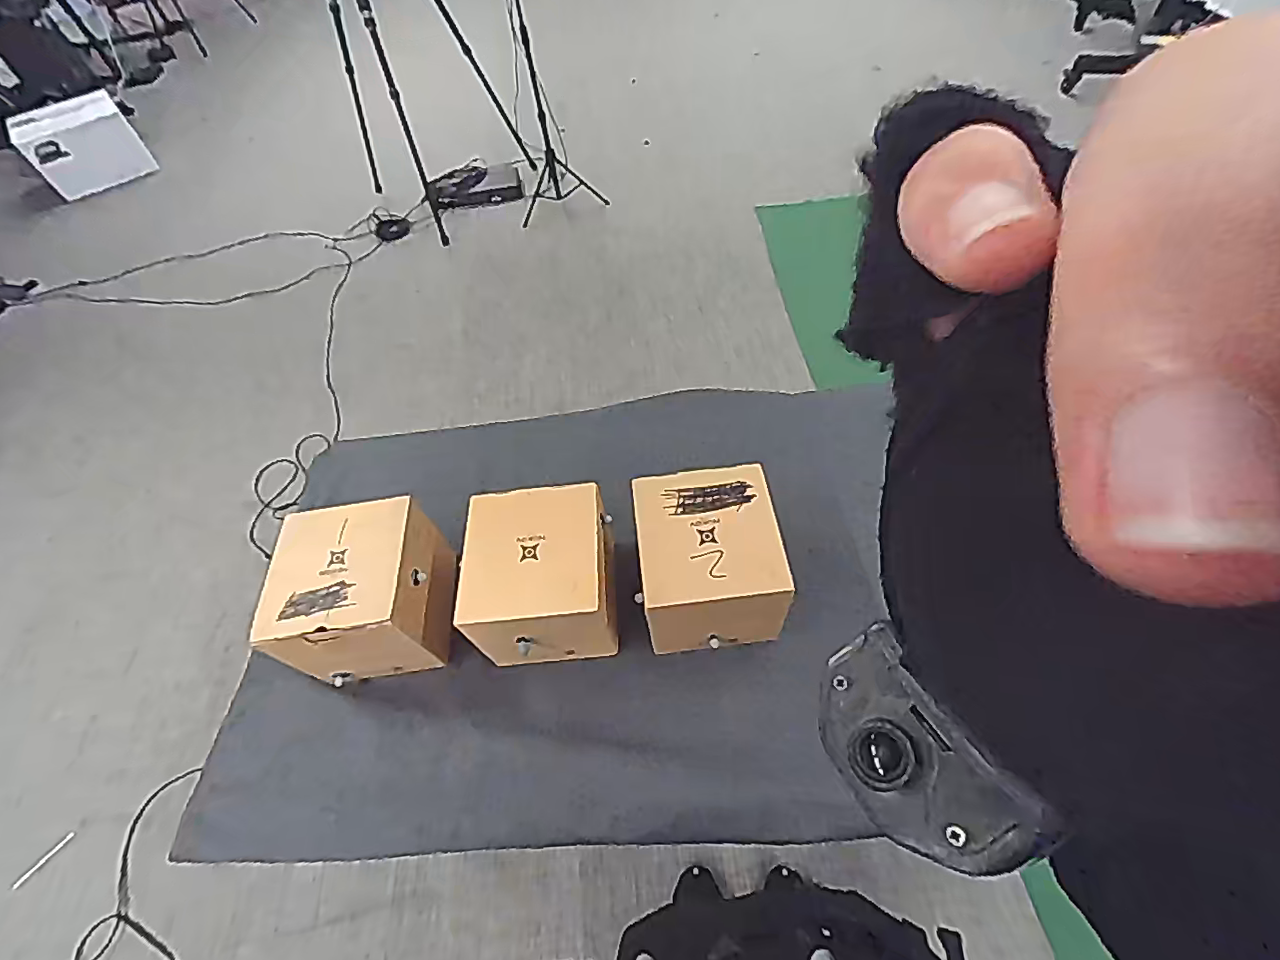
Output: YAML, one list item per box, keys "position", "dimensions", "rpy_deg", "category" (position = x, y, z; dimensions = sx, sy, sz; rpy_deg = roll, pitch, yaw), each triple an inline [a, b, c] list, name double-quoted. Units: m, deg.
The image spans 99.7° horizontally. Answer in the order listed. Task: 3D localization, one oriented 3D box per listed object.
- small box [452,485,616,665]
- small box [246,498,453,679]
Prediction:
- position: [-0.124, 0.131, 0.702]
  dimensions: [0.168, 0.176, 0.179]
  rpy_deg: [-6, 54, 2]
  category: "small box"
- position: [-0.360, 0.151, 0.712]
  dimensions: [0.168, 0.176, 0.179]
  rpy_deg: [-9, 53, 0]
  category: "small box"
